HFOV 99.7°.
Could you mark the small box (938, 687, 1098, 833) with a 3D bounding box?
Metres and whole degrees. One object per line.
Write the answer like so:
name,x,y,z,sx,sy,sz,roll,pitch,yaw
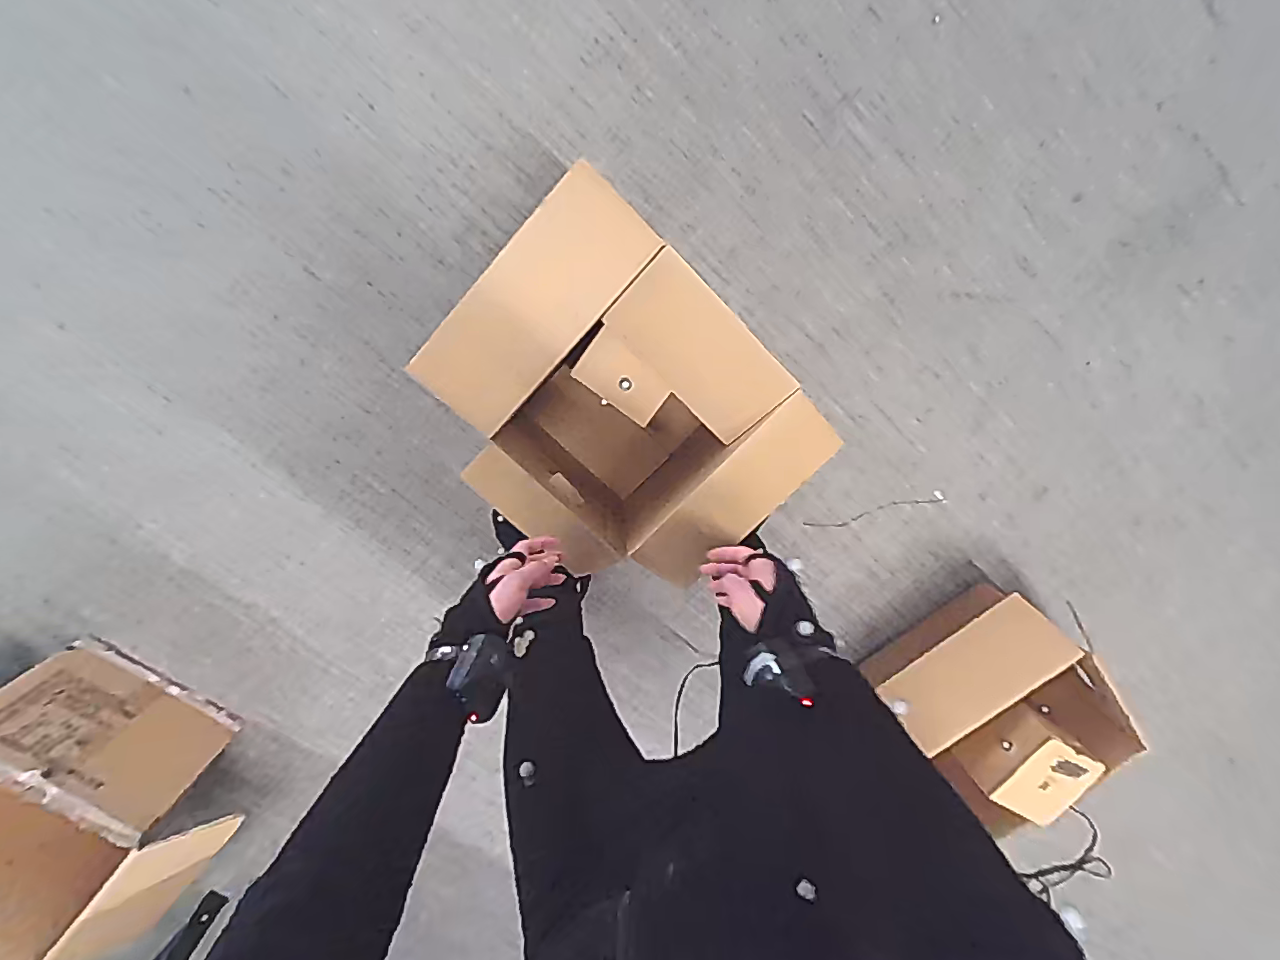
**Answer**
small box,0.768,0.569,1.119,0.168,0.176,0.179,35,101,-12
